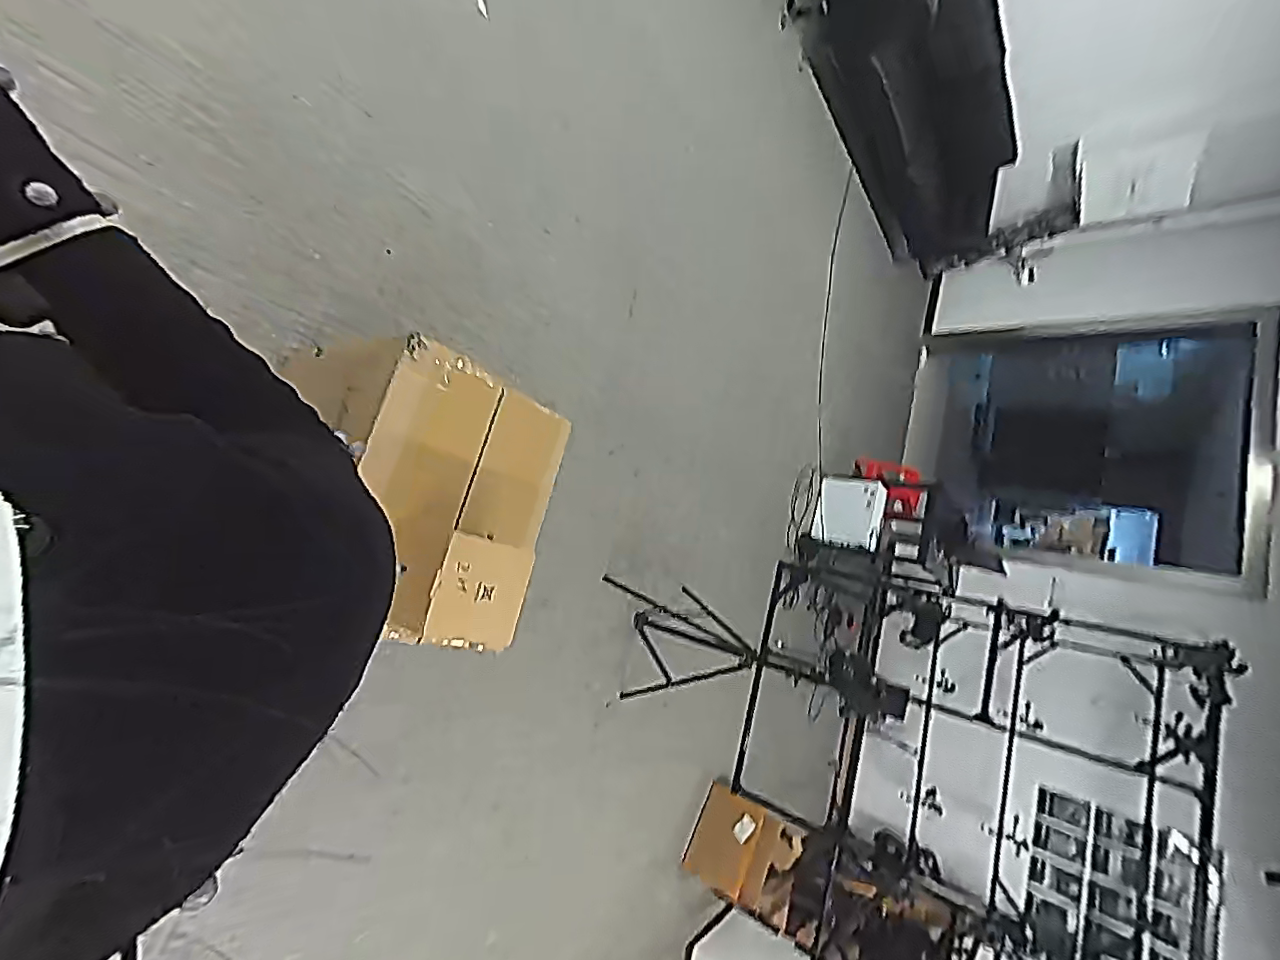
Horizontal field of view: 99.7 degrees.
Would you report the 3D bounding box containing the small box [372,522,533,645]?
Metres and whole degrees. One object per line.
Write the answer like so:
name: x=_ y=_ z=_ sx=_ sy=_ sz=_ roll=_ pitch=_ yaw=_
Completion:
small box: x=-0.323 y=0.176 z=0.933 sx=0.179 sy=0.176 sz=0.168 roll=27 pitch=73 yaw=-47
